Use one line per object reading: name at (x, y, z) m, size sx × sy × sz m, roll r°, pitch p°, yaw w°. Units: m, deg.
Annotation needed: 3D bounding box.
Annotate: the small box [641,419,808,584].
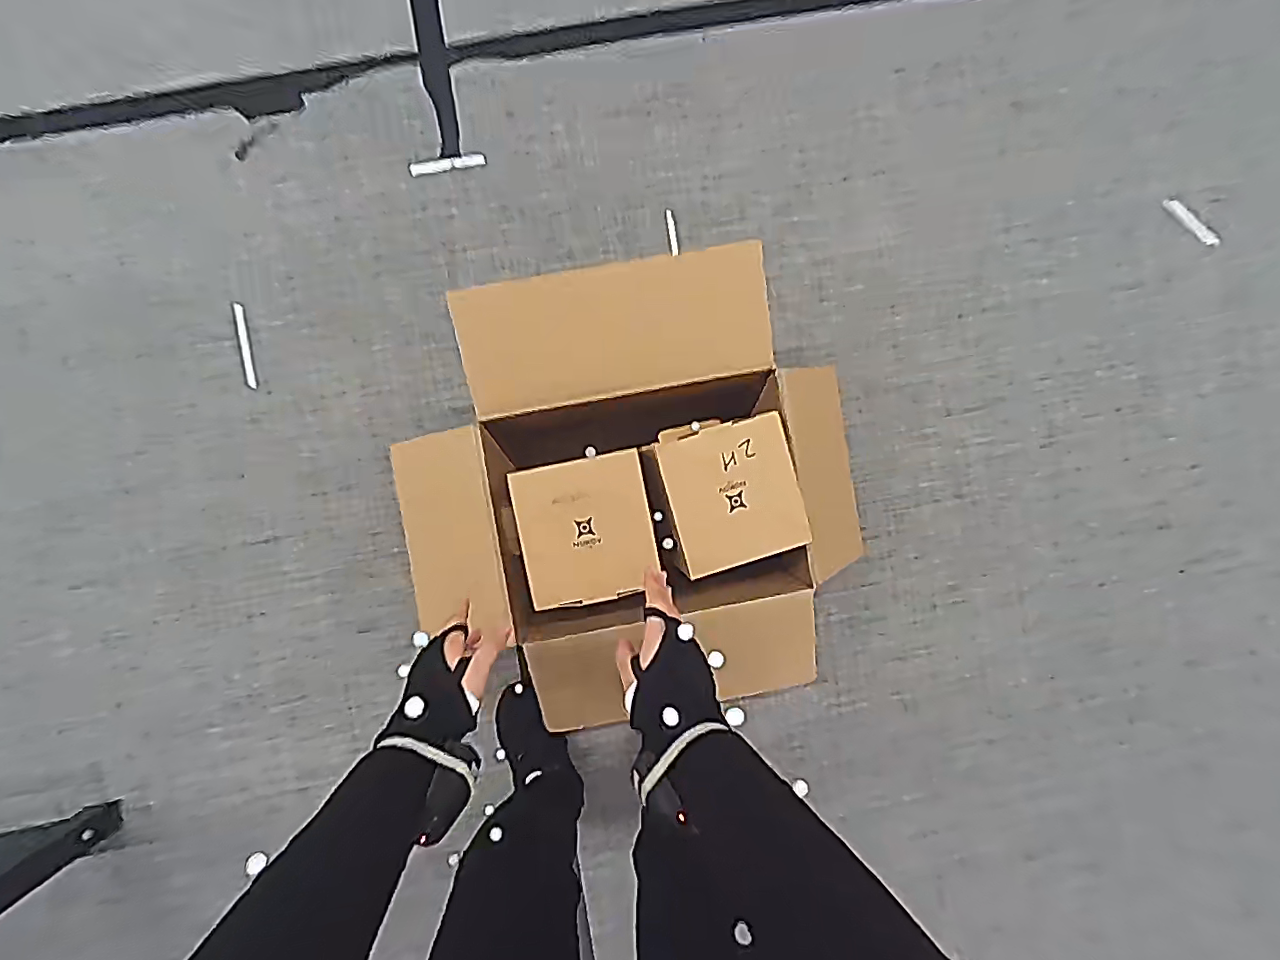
small box at (0.107, 0.025, 0.755) m, size 0.168 × 0.176 × 0.179 m, roll -16°, pitch 92°, yaw -6°
